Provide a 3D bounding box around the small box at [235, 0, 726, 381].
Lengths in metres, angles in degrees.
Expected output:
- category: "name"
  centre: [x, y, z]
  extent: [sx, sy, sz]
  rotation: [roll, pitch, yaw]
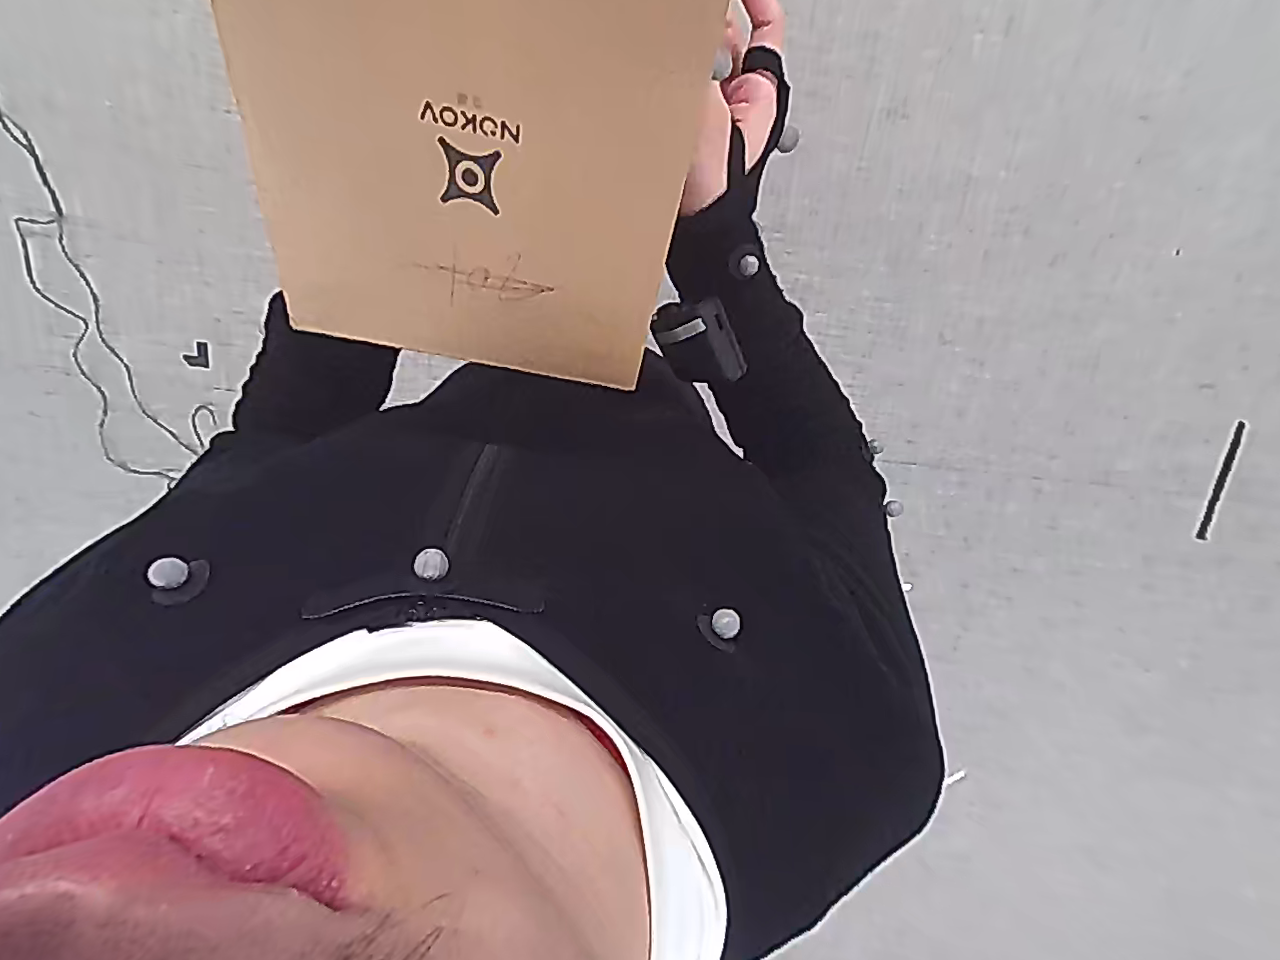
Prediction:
- category: "small box"
  centre: [-0.064, -0.181, 0.276]
  extent: [0.168, 0.176, 0.179]
  rotation: [10, 133, -7]
